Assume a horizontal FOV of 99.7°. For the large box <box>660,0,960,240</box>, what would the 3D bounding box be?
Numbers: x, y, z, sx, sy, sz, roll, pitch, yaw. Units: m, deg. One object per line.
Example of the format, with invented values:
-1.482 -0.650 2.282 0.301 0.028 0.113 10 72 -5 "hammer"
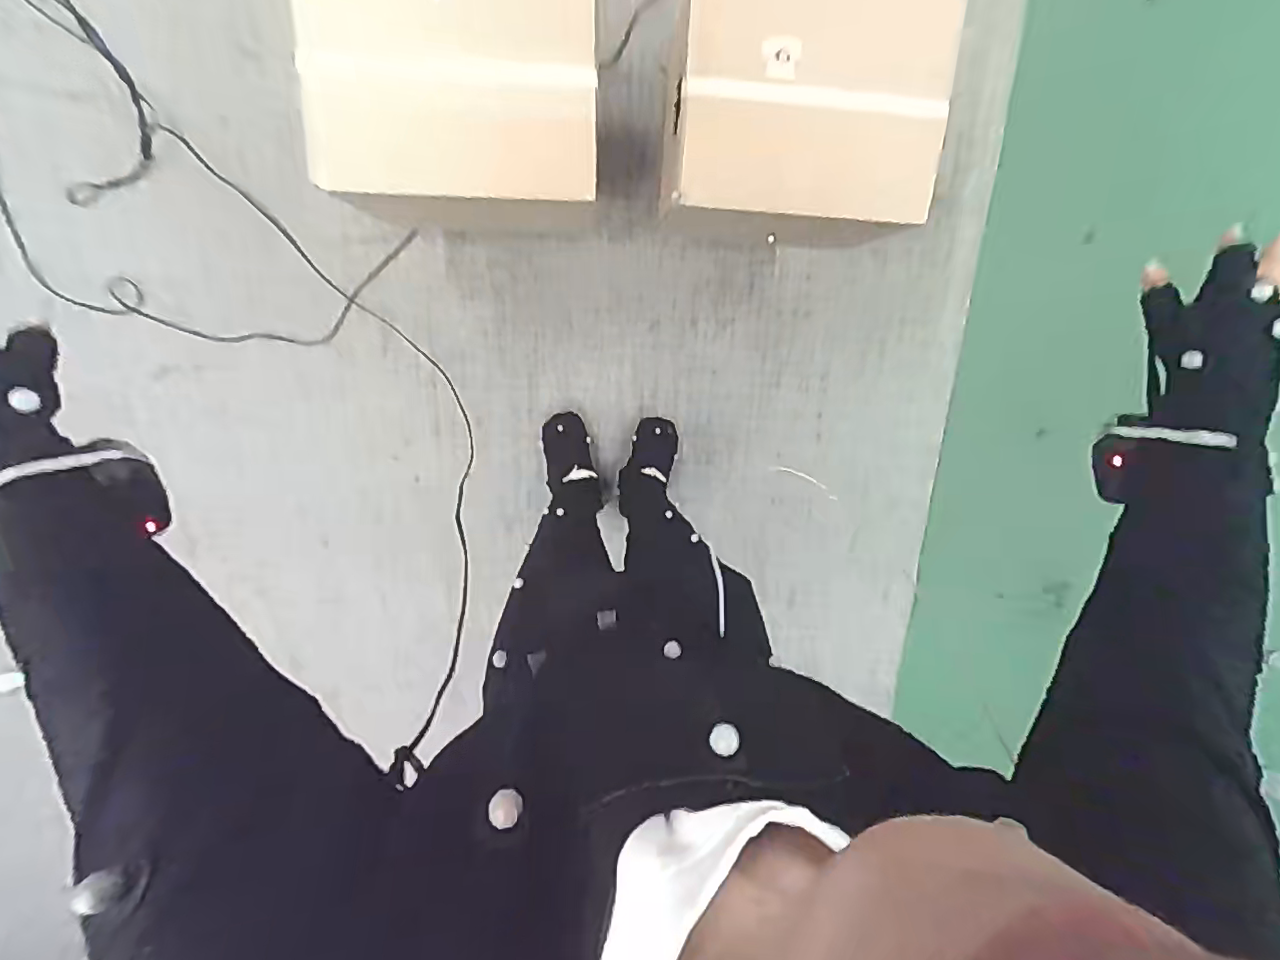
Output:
0.258 -0.619 0.960 0.408 0.320 0.320 2 106 -5 "large box"
